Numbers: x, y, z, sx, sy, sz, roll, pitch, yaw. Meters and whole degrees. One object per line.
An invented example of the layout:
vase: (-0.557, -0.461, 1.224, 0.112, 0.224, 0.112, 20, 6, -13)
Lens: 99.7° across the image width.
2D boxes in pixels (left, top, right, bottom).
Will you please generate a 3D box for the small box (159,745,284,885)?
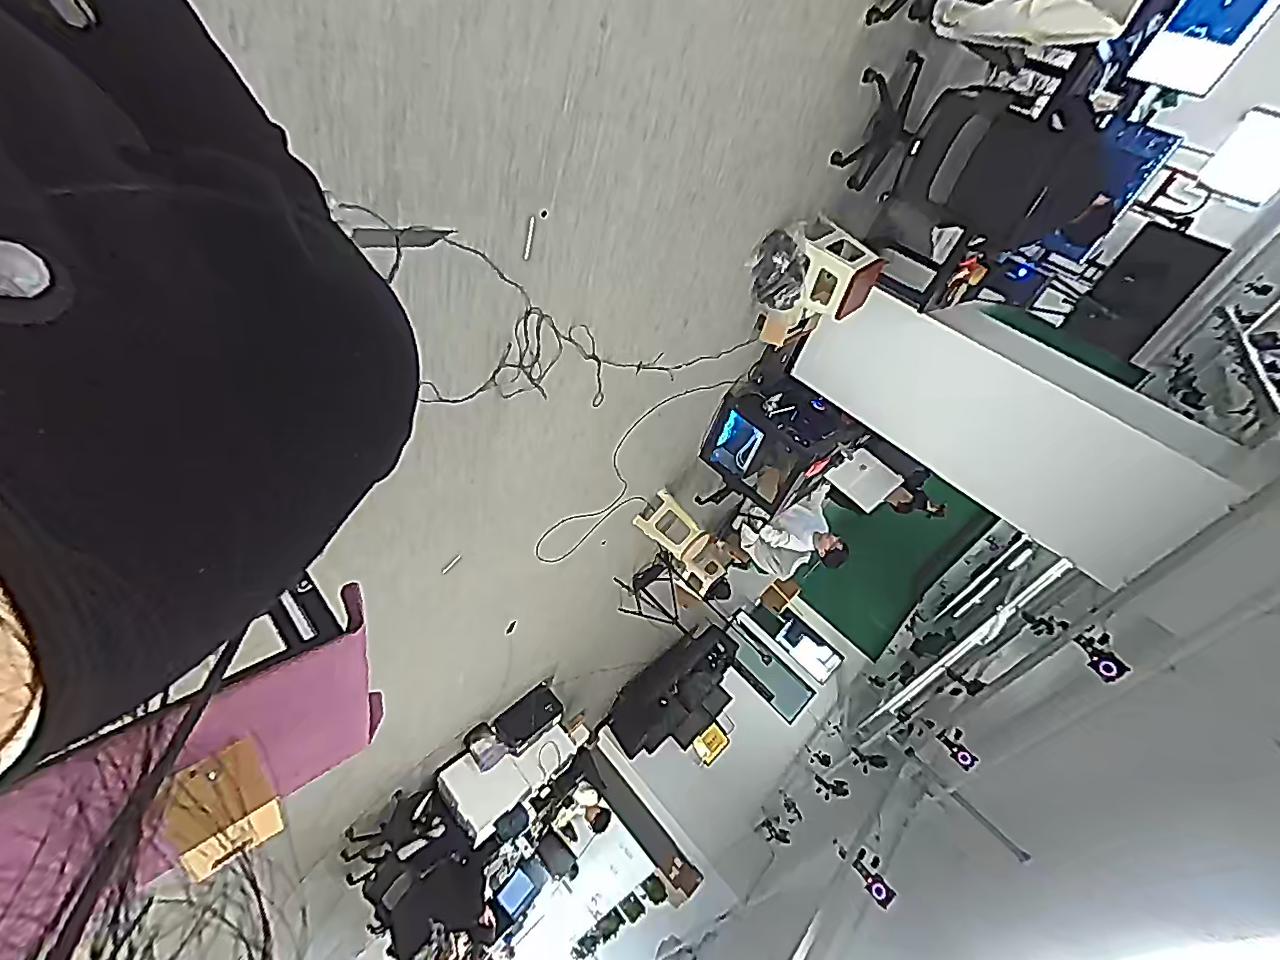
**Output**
small box: (-0.900, 0.716, 1.170, 0.168, 0.176, 0.179, -23, 145, -44)
